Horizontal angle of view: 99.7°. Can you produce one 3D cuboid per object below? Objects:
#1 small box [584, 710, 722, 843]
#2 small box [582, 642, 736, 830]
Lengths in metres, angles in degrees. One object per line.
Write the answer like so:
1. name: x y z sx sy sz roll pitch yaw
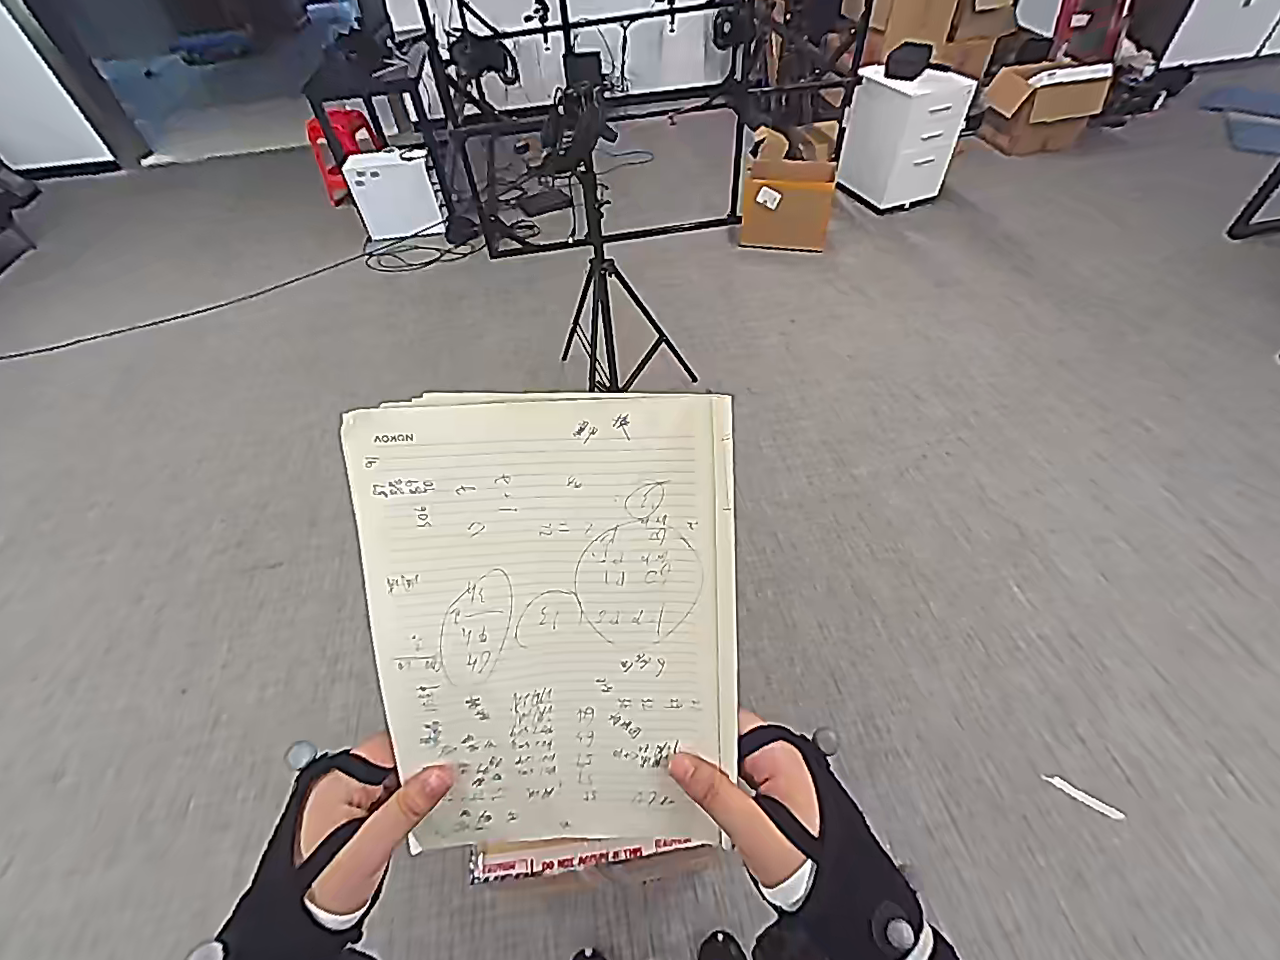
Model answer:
1. small box: 0.015 0.444 0.840 0.179 0.176 0.168 -10 51 -7
2. small box: 0.016 0.339 0.713 0.168 0.176 0.179 -7 52 -5
